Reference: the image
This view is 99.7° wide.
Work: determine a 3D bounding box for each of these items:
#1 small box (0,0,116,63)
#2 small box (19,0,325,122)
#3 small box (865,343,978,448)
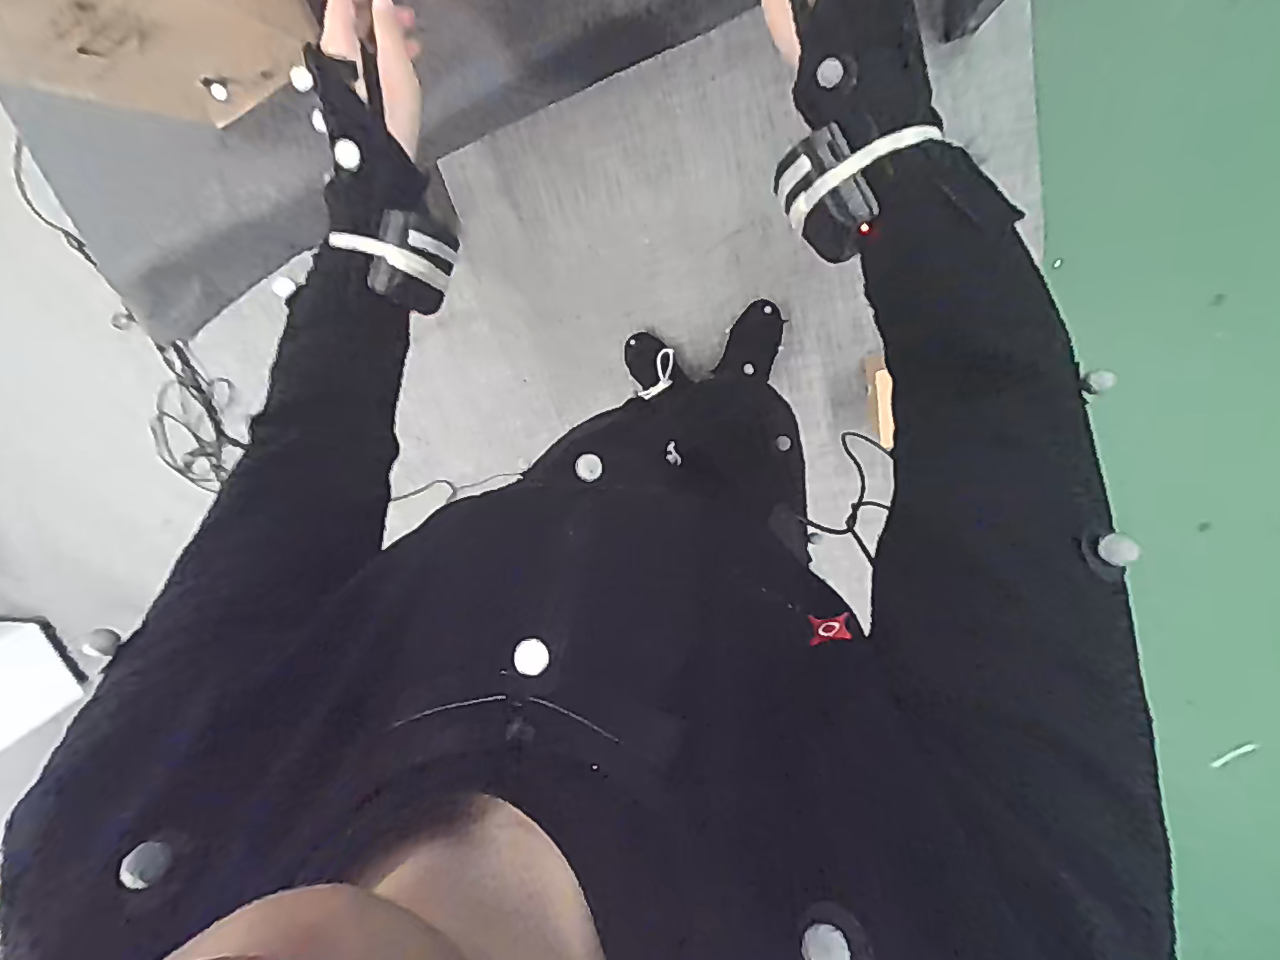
[{"bbox_3d":[-0.446,-0.374,0.301,0.168,0.176,0.179,-17,109,19],"label":"small box"},{"bbox_3d":[-0.417,-0.439,0.449,0.168,0.176,0.179,-16,109,19],"label":"small box"},{"bbox_3d":[0.583,-0.182,1.134,0.179,0.176,0.168,-8,110,18],"label":"small box"}]
